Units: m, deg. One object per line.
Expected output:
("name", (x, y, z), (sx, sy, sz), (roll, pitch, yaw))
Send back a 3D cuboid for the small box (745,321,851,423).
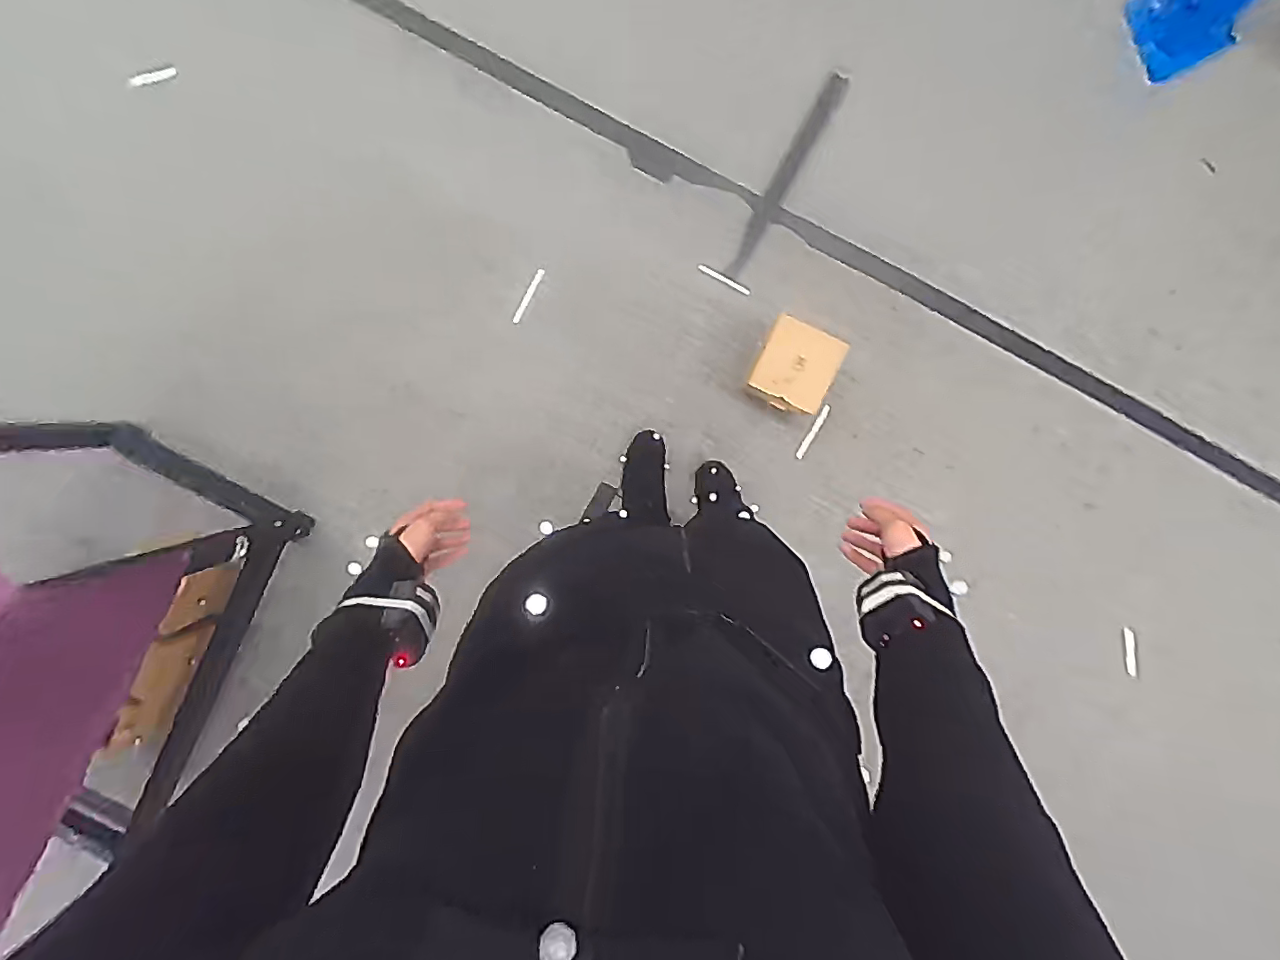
("small box", (0.362, -0.250, 1.280), (0.168, 0.176, 0.179), (26, 98, 0))
